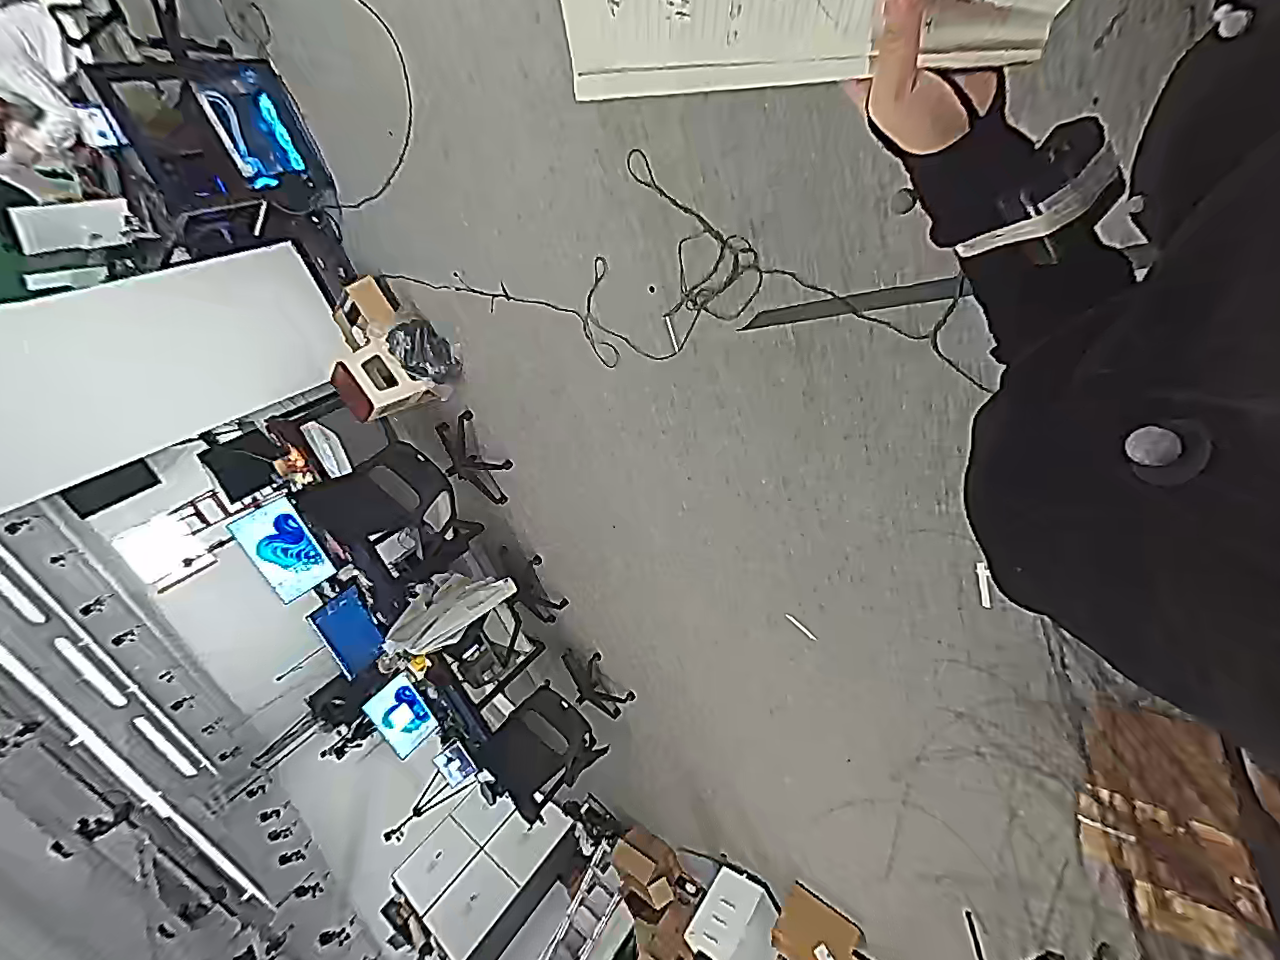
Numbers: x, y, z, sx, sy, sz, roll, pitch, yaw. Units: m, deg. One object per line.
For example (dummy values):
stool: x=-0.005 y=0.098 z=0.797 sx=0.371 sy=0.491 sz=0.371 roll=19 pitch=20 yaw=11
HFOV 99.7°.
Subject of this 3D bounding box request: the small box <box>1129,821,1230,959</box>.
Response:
small box: x=1.290 y=0.971 z=1.297 sx=0.168 sy=0.176 sz=0.179 roll=1 pitch=121 yaw=46
